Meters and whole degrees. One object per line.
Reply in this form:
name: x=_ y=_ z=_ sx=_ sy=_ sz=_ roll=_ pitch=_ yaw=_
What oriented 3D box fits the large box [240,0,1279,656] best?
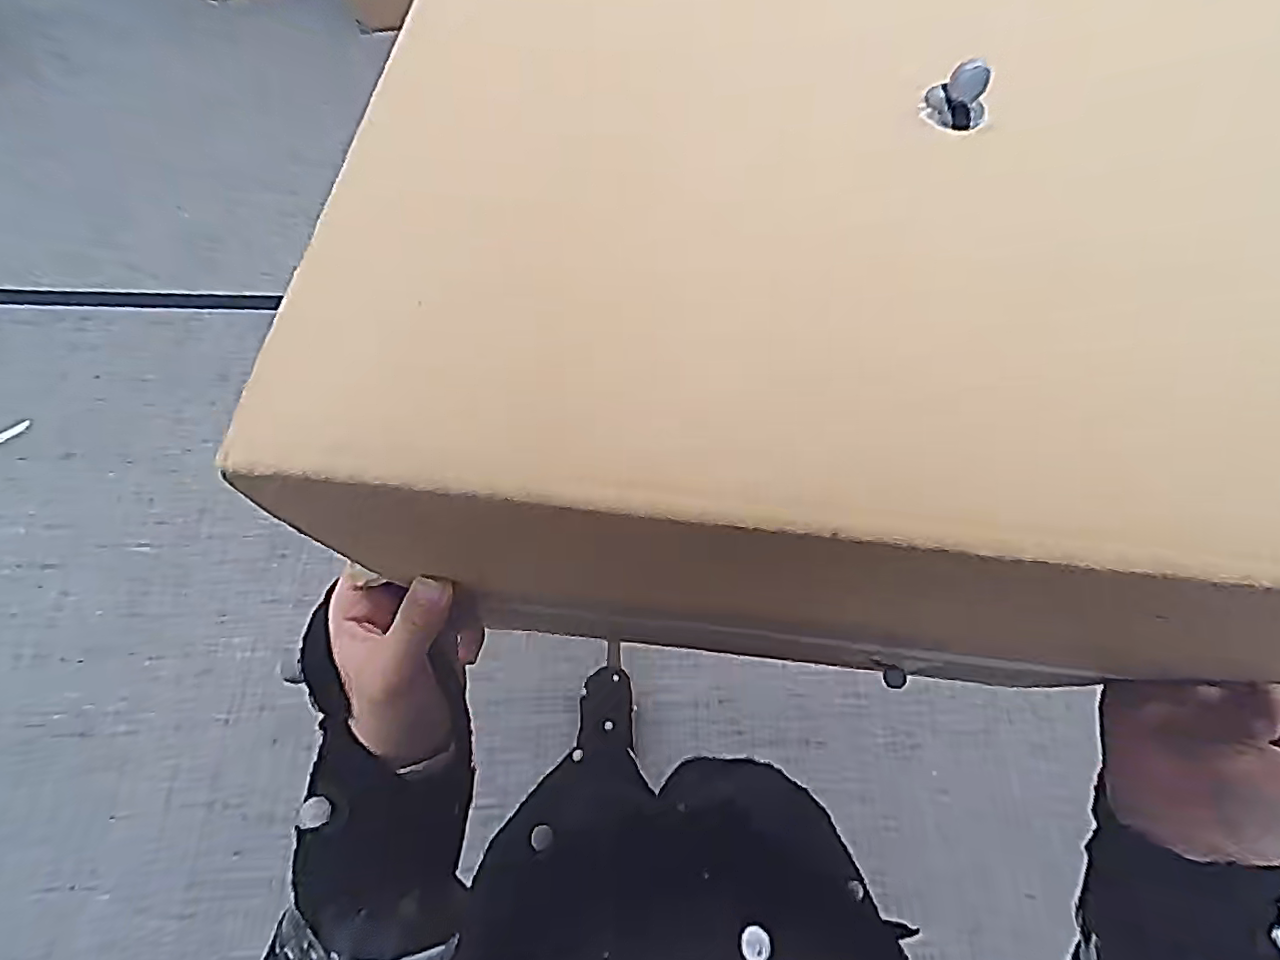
large box: x=0.096 y=-0.080 z=0.332 sx=0.408 sy=0.320 sz=0.320 roll=6 pitch=70 yaw=-1
